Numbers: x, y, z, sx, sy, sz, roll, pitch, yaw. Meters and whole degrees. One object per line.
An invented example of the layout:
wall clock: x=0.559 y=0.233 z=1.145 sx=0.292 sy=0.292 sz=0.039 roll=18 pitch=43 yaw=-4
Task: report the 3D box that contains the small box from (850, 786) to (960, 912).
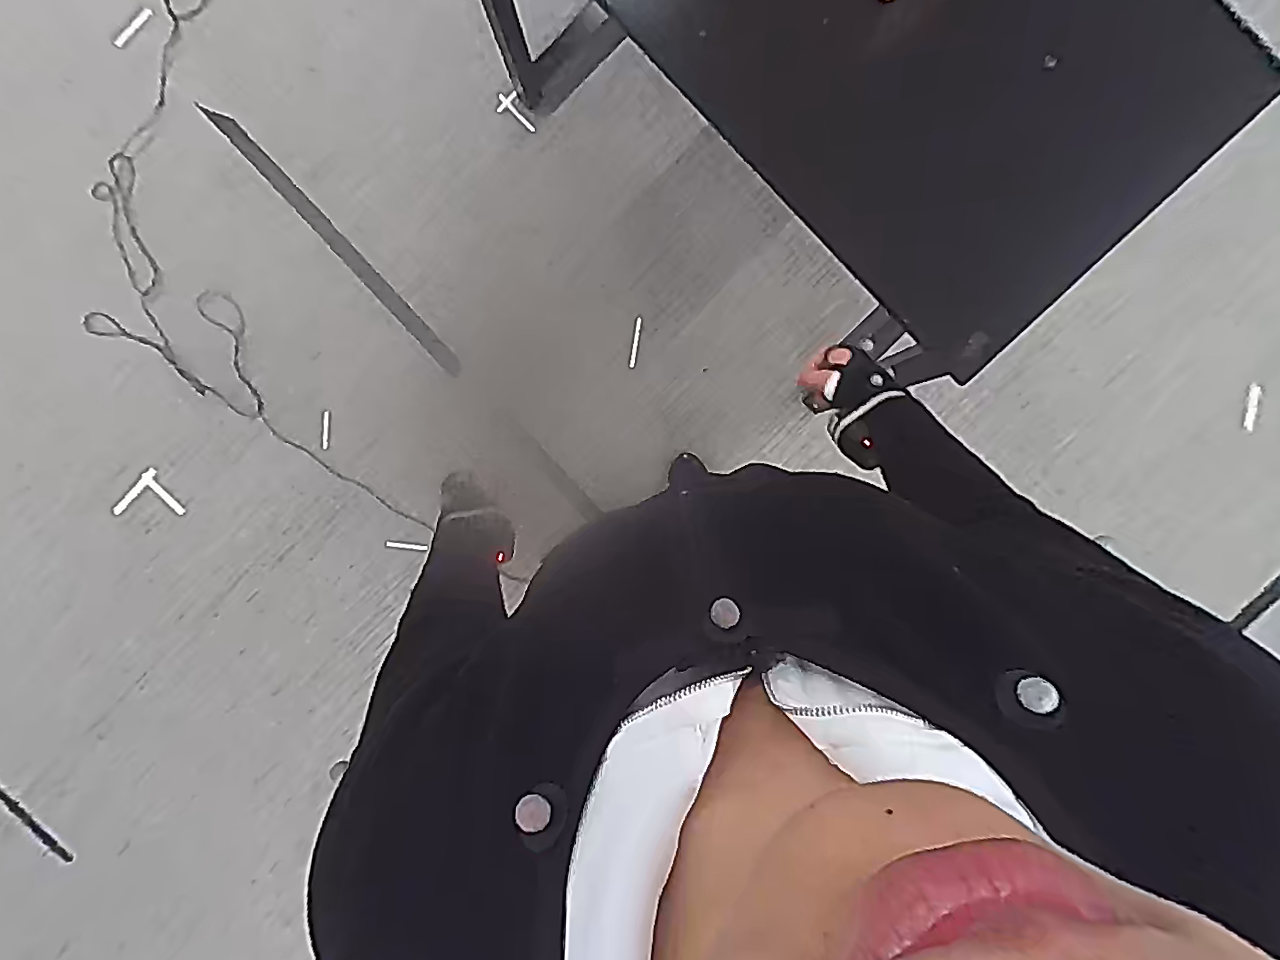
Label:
small box: x=0.684 y=0.964 z=1.429 sx=0.179 sy=0.176 sz=0.168 roll=-44 pitch=91 yaw=2
